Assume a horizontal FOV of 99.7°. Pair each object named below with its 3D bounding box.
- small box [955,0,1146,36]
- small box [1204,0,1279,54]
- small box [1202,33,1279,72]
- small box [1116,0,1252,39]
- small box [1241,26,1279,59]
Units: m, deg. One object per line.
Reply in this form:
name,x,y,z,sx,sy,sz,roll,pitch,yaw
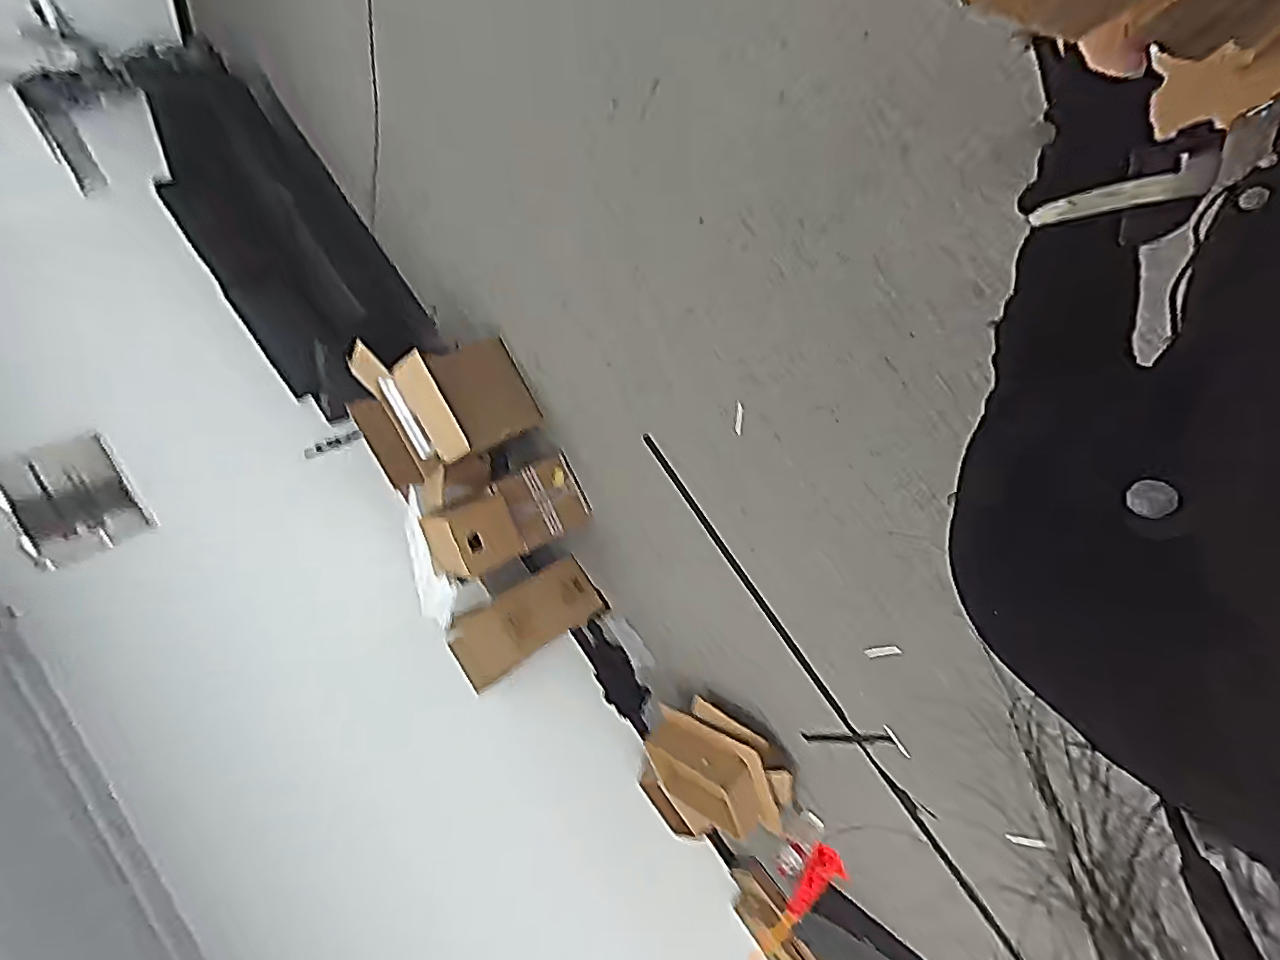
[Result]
small box,0.170,-0.261,0.134,0.179,0.176,0.168,-16,102,53
small box,0.513,-0.475,0.415,0.168,0.176,0.179,55,143,7
small box,0.746,-0.599,0.606,0.179,0.176,0.168,-29,92,53
small box,0.284,-0.333,0.229,0.168,0.176,0.179,-24,96,53
small box,0.622,-0.542,0.516,0.179,0.176,0.168,52,143,12
